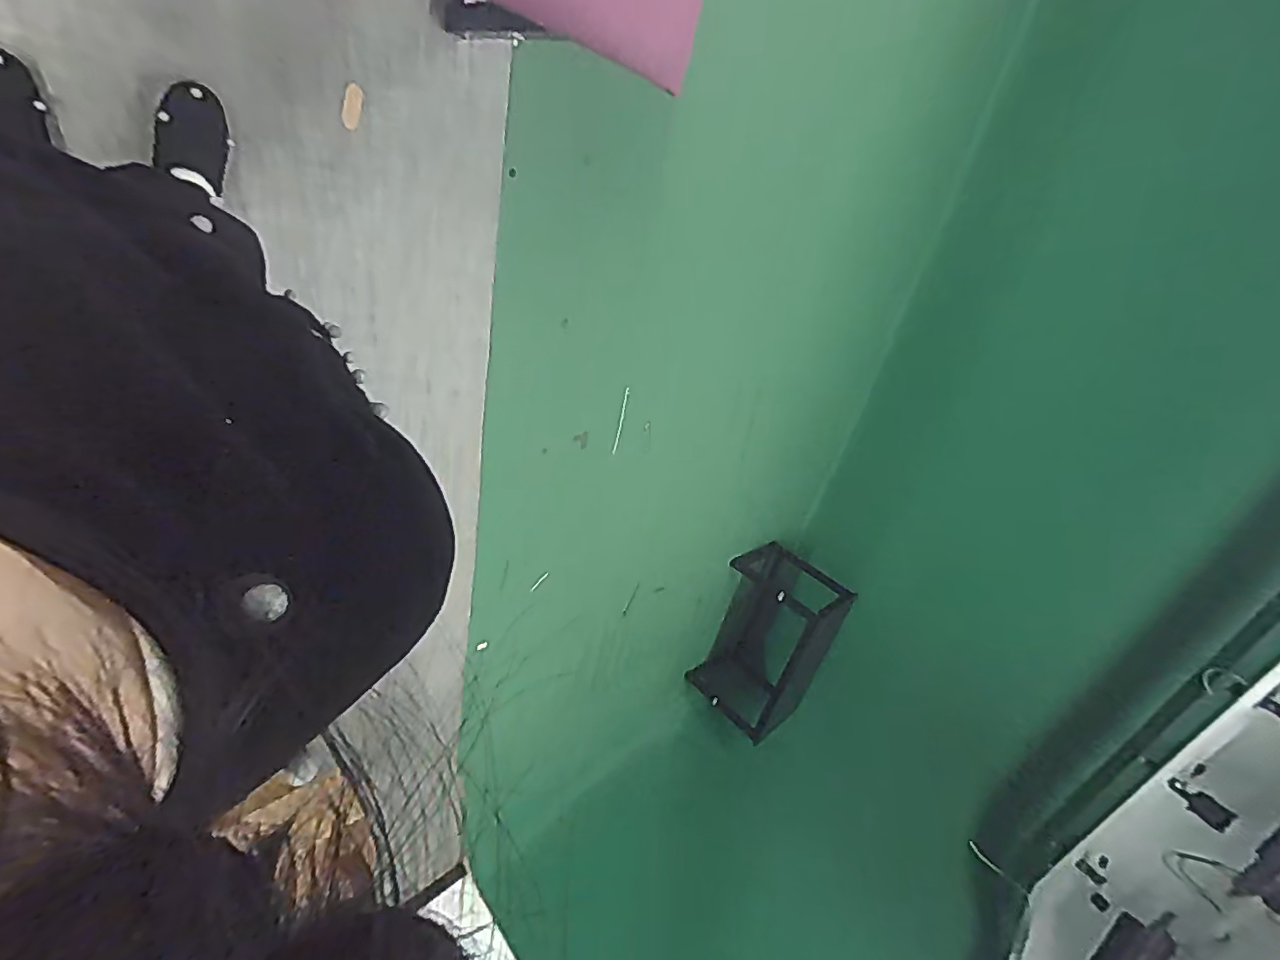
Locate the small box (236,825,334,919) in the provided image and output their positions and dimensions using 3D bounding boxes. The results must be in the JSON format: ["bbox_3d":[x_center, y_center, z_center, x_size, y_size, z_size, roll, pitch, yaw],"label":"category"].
[{"bbox_3d":[-1.011,1.129,1.539,0.168,0.176,0.179,-29,138,-32],"label":"small box"}]

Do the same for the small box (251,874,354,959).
[{"bbox_3d":[-0.901,1.204,1.443,0.168,0.176,0.179,-28,138,-31],"label":"small box"}]
